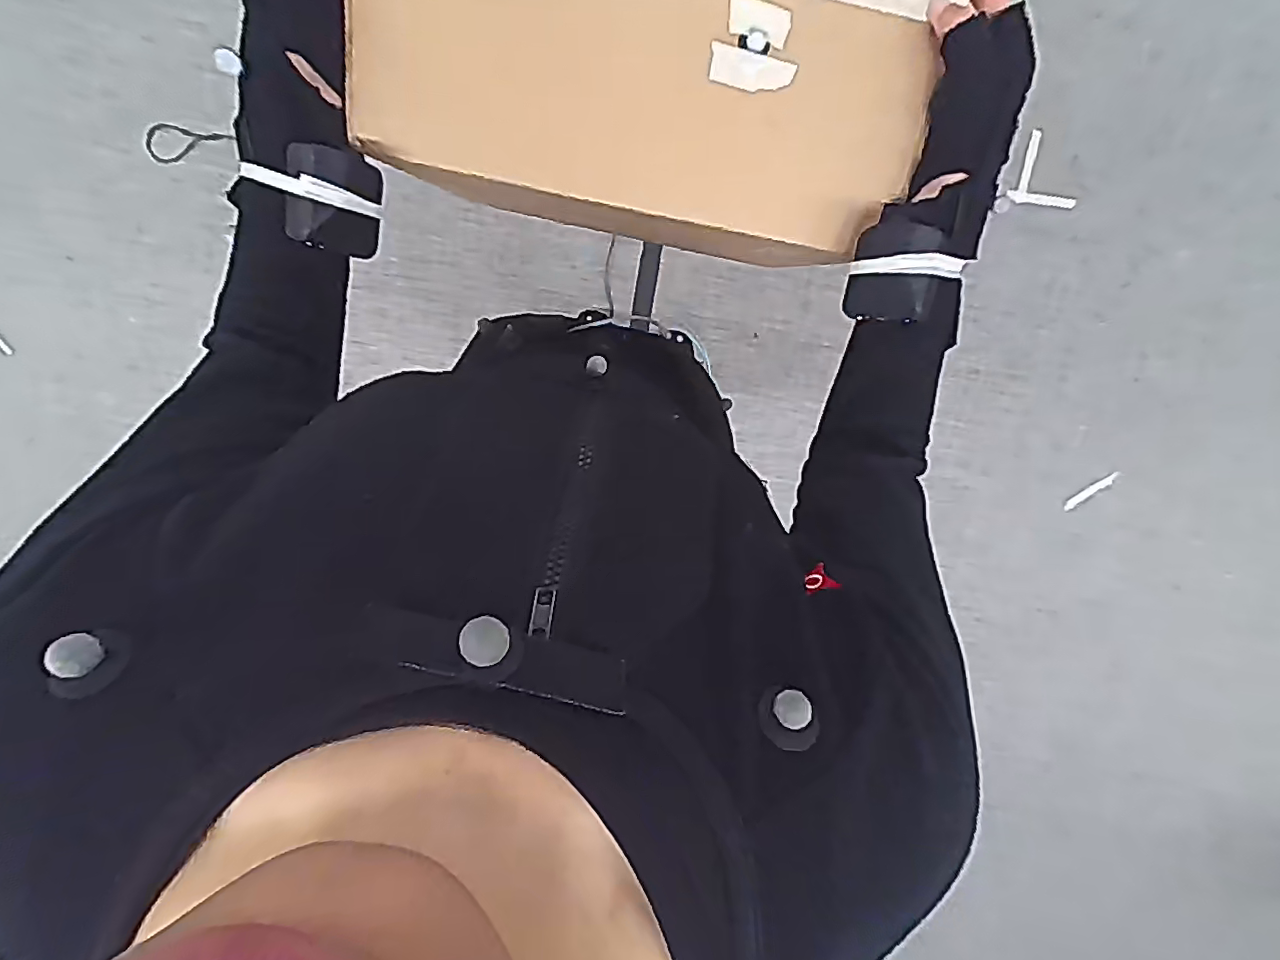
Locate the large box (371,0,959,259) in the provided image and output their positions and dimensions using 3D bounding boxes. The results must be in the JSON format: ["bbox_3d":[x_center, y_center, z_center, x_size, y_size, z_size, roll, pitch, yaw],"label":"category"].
[{"bbox_3d":[0.017,-0.405,0.499,0.408,0.320,0.320,9,111,-6],"label":"large box"}]
